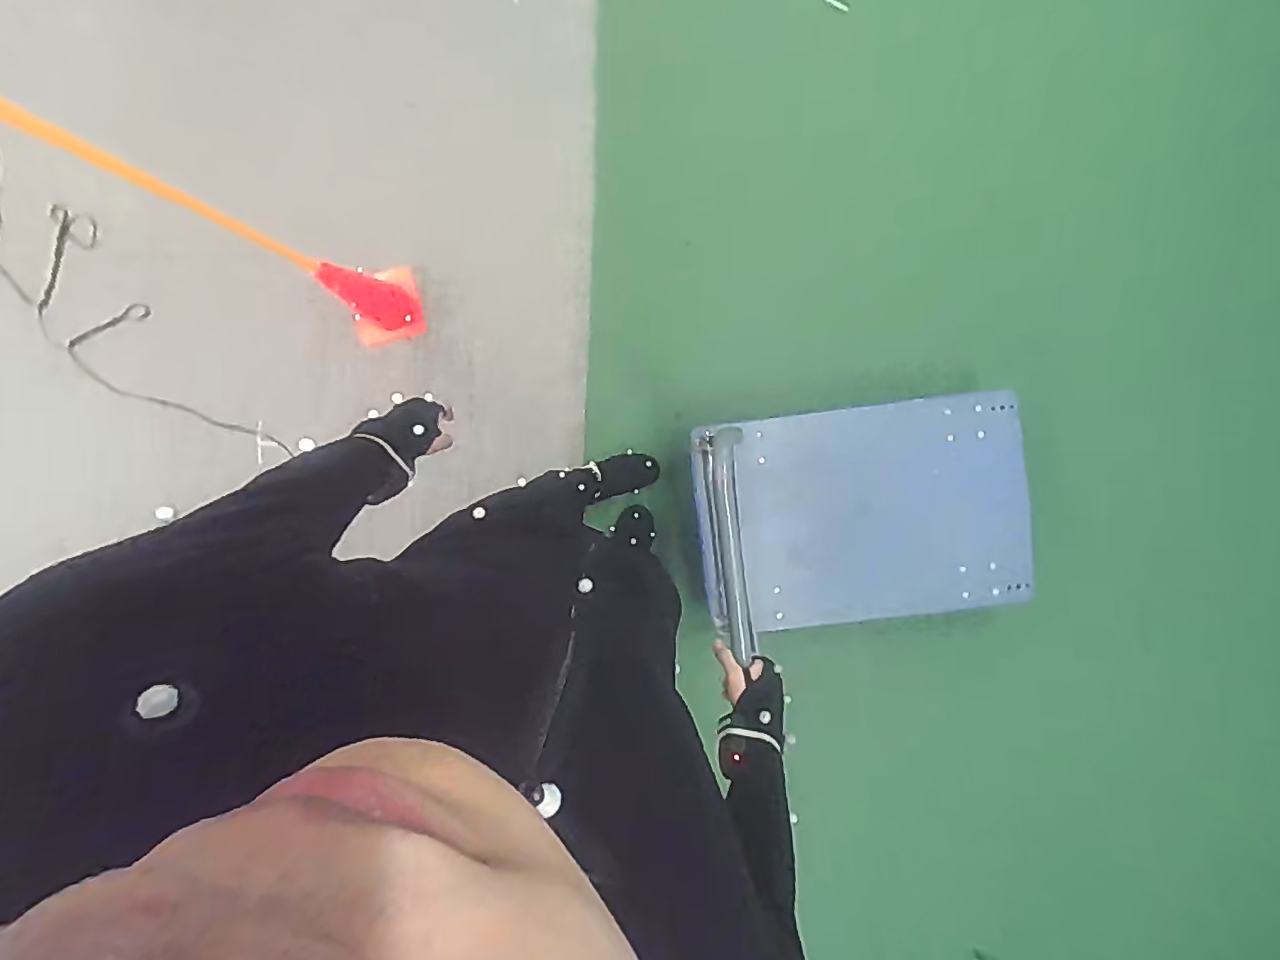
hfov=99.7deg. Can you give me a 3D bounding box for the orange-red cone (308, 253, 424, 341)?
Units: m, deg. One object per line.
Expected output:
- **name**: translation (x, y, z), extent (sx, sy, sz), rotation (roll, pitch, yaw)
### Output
- **orange-red cone**: translation (-0.751, -0.517, 1.428), extent (0.198, 0.360, 0.199), rotation (-12, 91, 1)
